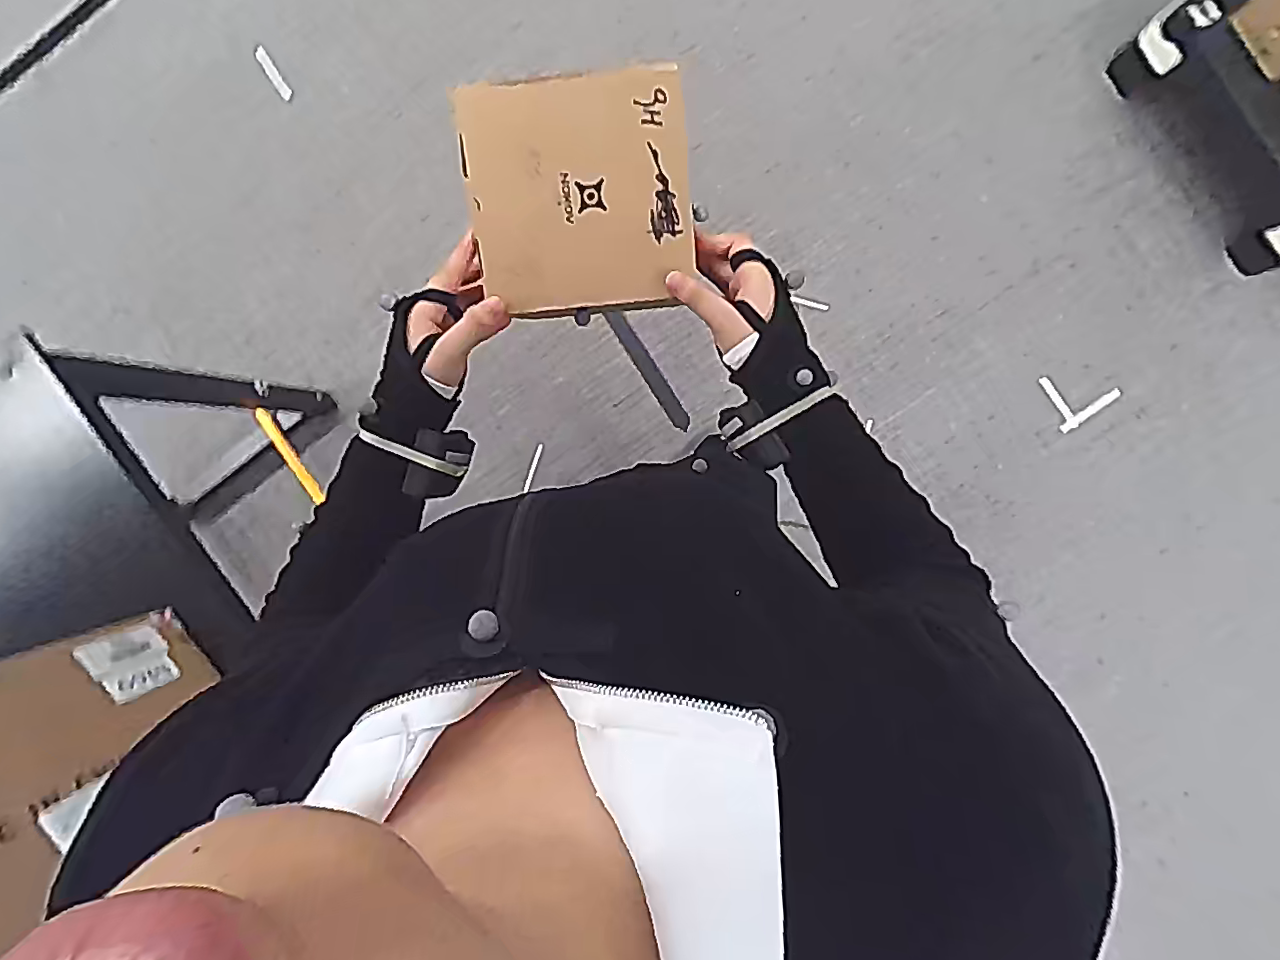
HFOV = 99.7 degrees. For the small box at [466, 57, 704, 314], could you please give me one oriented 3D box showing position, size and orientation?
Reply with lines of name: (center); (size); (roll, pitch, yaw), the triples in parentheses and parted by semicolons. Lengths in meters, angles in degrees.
small box: (-0.036, -0.244, 0.494); (0.179, 0.176, 0.168); (-3, 105, 2)
